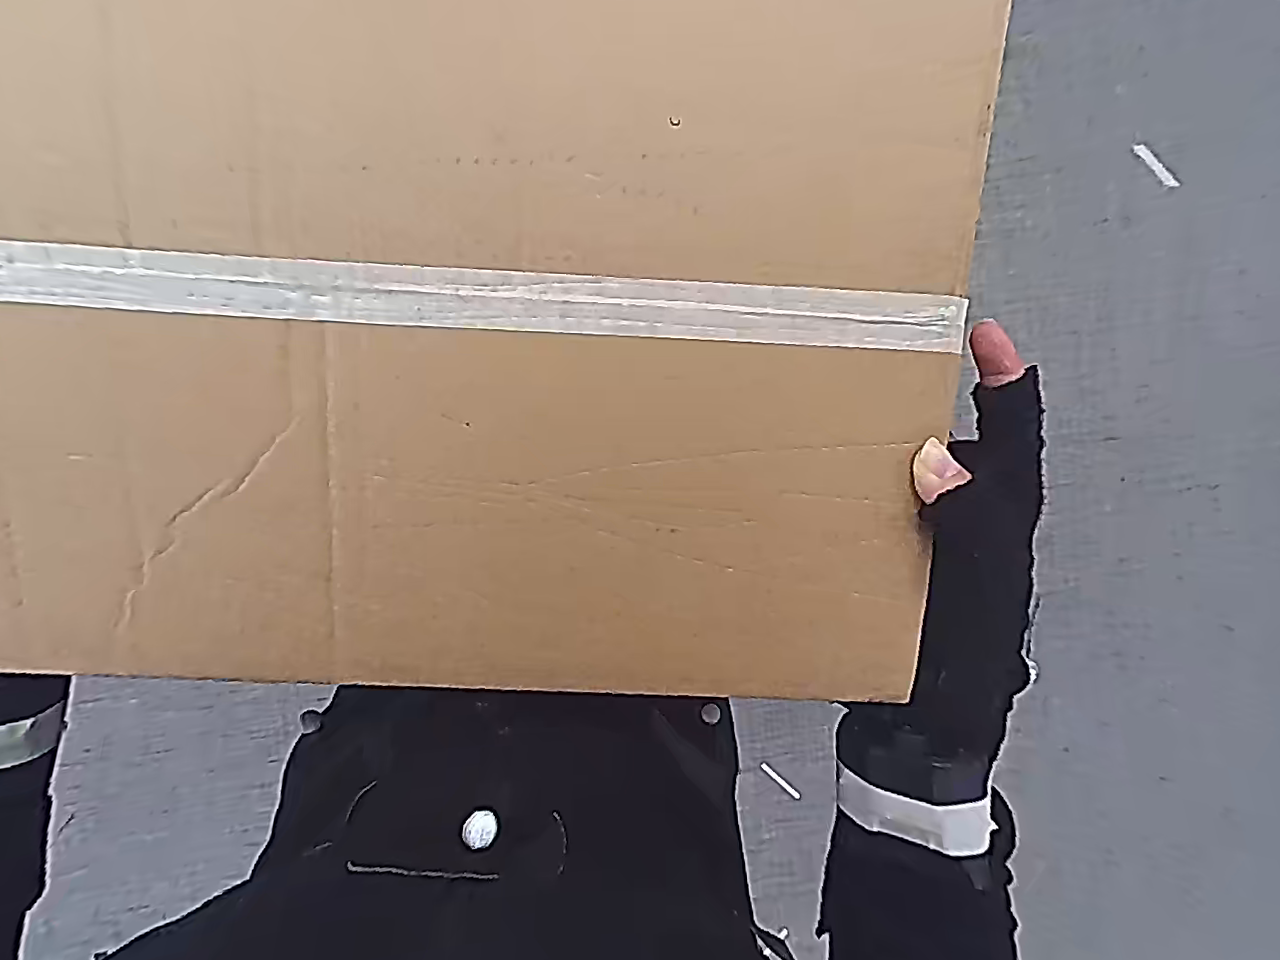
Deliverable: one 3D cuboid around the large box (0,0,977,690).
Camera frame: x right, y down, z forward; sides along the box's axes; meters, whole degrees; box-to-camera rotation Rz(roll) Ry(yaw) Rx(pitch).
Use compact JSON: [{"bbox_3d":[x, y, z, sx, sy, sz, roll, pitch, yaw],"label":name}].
[{"bbox_3d":[-0.081,-0.086,0.361,0.408,0.320,0.320,3,98,-2],"label":"large box"}]
